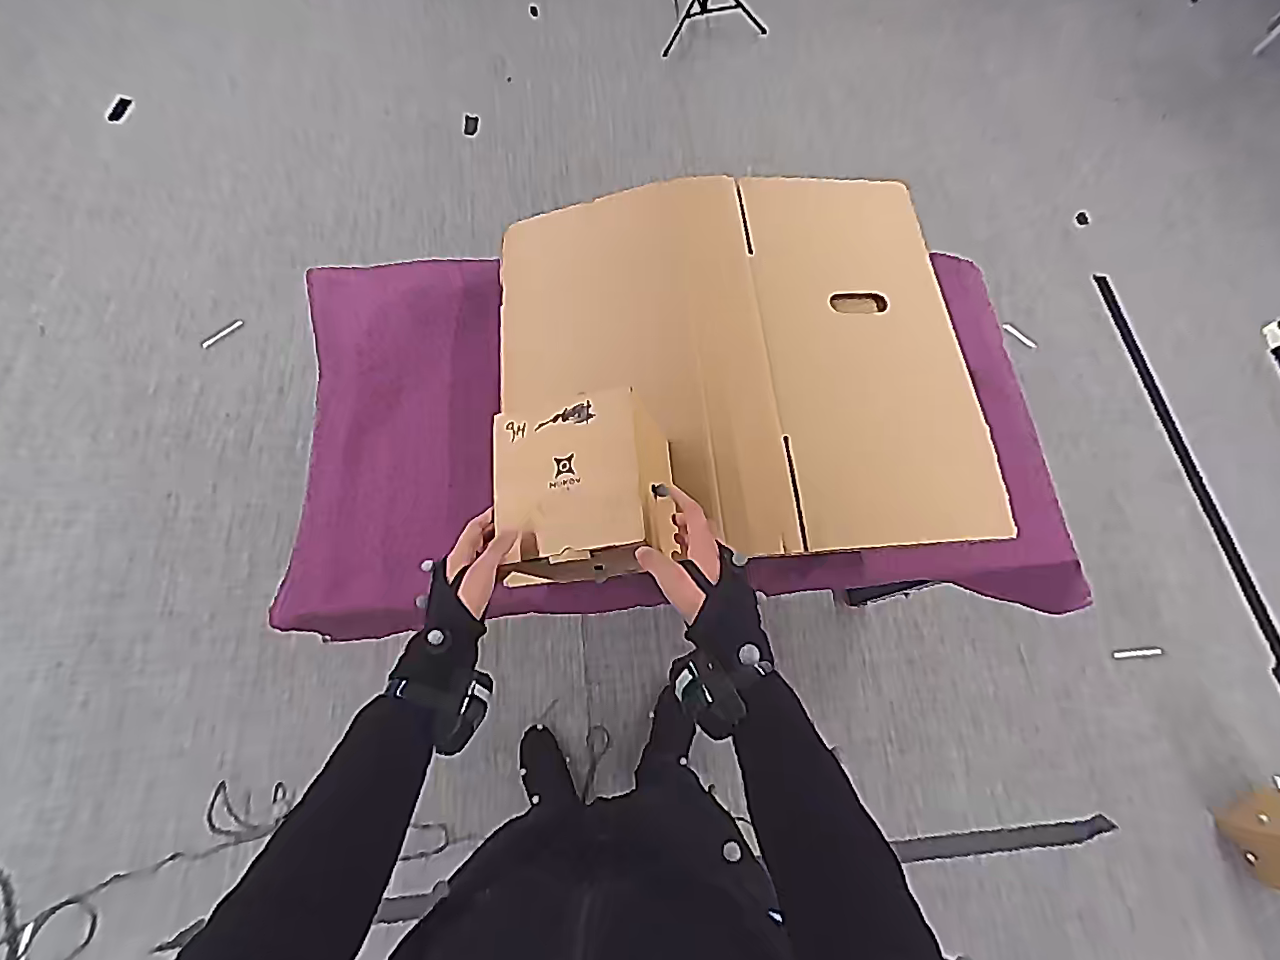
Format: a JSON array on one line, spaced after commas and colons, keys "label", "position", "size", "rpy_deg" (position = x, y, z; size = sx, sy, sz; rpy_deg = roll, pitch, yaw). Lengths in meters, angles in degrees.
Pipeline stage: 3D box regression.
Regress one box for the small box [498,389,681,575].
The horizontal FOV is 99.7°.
[{"label": "small box", "position": [-0.053, 0.017, 0.647], "size": [0.168, 0.176, 0.179], "rpy_deg": [-10, 72, 14]}]
